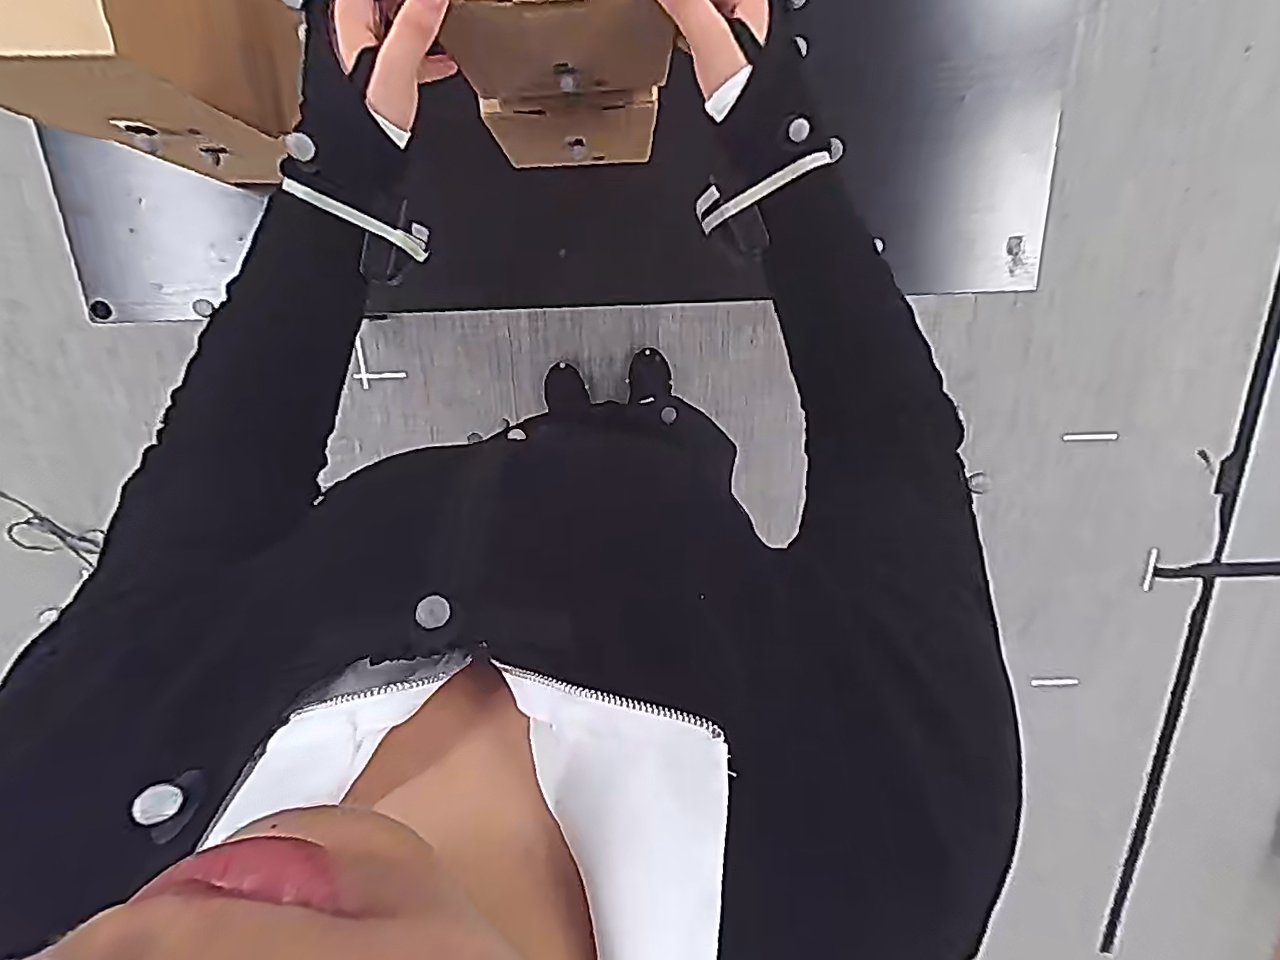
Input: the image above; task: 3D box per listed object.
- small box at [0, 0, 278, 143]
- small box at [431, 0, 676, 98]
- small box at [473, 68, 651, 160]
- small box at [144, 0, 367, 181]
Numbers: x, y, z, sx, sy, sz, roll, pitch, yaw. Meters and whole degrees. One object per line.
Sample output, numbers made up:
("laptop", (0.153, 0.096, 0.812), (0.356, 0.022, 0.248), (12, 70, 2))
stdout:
("small box", (-0.408, -0.372, 0.394), (0.168, 0.176, 0.179), (-2, 106, 0))
("small box", (-0.065, -0.405, 0.380), (0.168, 0.176, 0.179), (-4, 107, 0))
("small box", (-0.074, -0.446, 0.555), (0.168, 0.176, 0.179), (-3, 105, -1))
("small box", (-0.411, -0.416, 0.550), (0.179, 0.176, 0.168), (-1, 105, -3))
